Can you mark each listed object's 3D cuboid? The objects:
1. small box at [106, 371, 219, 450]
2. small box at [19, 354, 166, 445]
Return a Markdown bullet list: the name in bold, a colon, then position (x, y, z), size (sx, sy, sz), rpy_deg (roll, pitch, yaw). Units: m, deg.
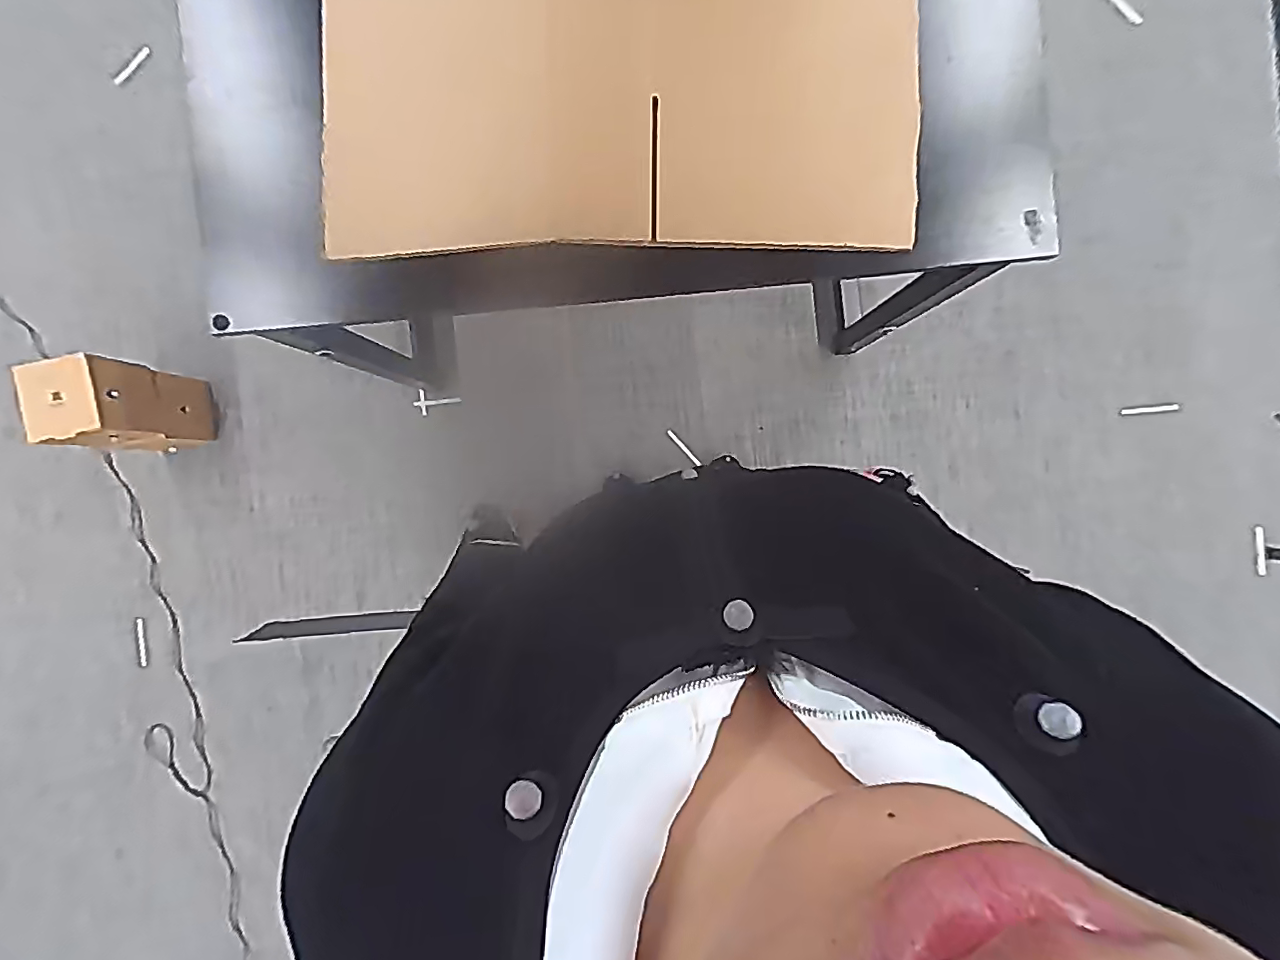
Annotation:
- **small box**: position (-1.273, -0.178, 1.438), size (0.168, 0.176, 0.179), rpy_deg (-9, 91, 1)
- **small box**: position (-1.276, -0.182, 1.275), size (0.168, 0.176, 0.179), rpy_deg (-12, 90, 0)
